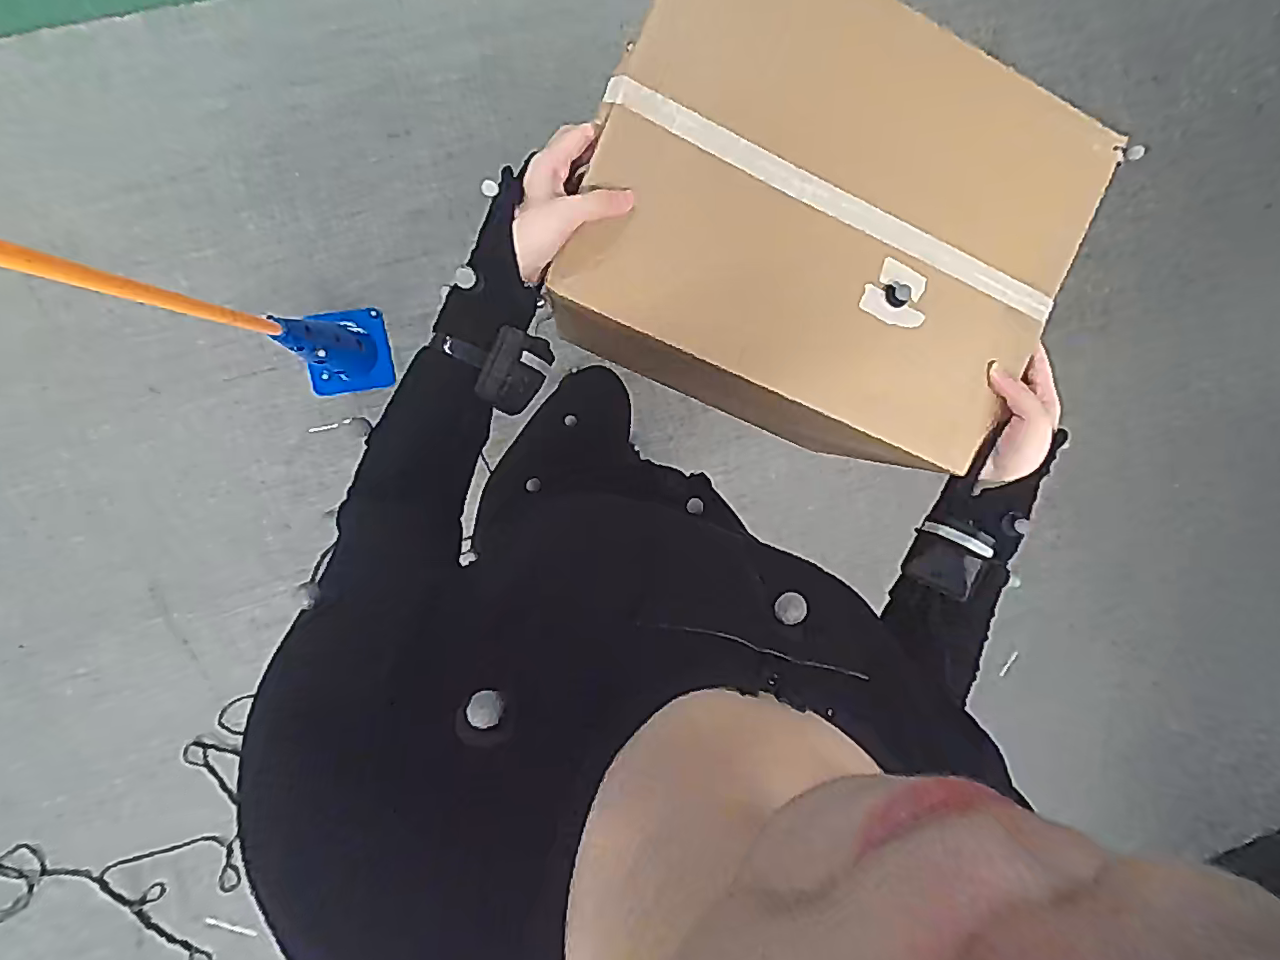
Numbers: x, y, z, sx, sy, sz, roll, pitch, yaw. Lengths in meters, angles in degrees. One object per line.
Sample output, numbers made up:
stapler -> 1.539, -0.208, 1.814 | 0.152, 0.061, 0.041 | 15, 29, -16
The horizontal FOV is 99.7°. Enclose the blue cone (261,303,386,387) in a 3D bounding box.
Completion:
blue cone -> -0.715, -0.318, 1.190 | 0.193, 0.380, 0.192 | -8, 96, -8

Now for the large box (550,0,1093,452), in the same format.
large box -> 0.140, -0.250, 0.594 | 0.408, 0.320, 0.320 | 21, 95, -10
